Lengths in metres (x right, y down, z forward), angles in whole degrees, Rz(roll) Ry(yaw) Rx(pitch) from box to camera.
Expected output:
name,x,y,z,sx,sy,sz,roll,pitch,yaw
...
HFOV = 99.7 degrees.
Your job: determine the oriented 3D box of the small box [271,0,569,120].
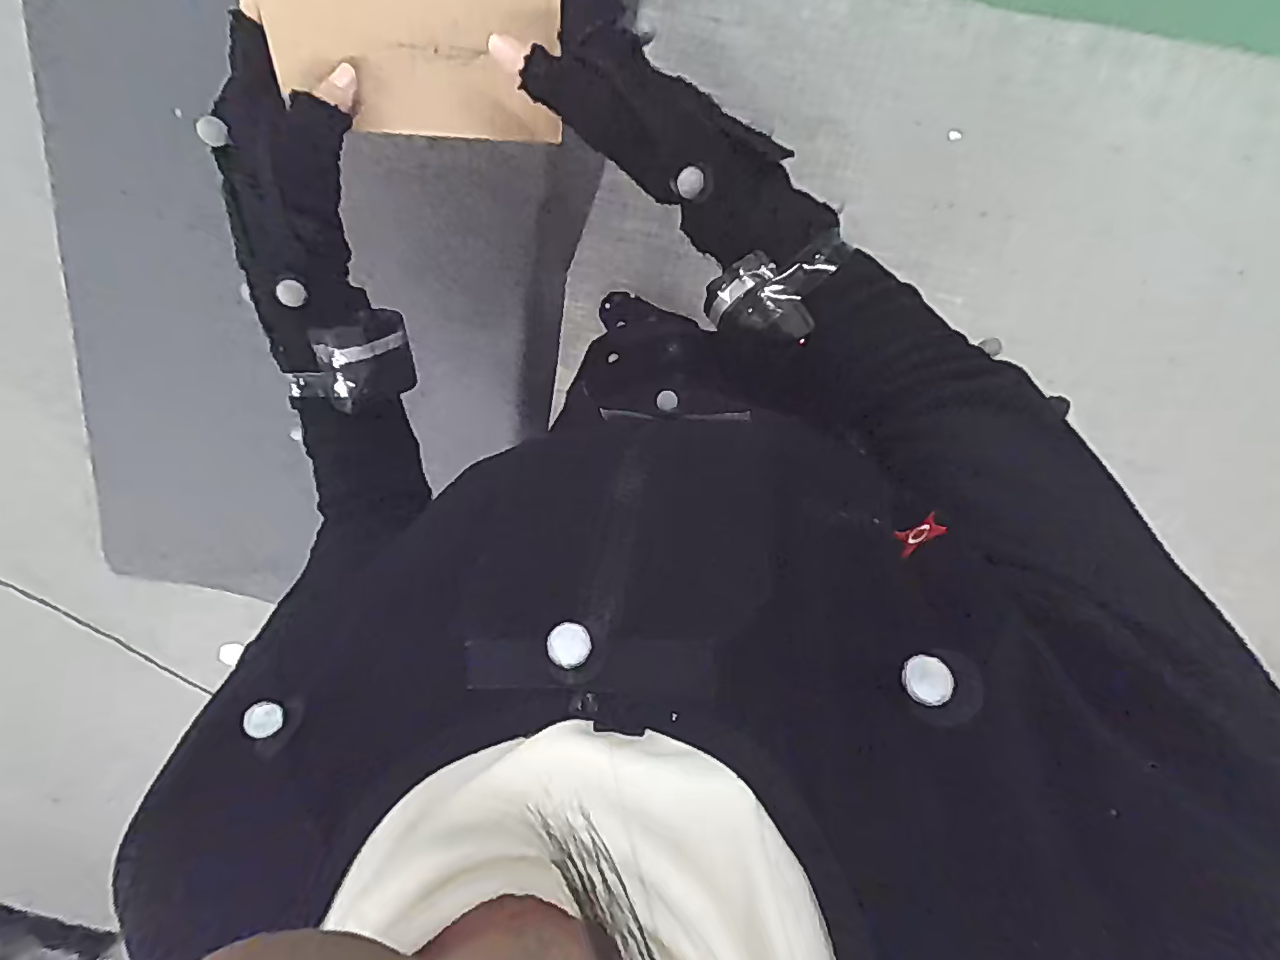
name,x,y,z,sx,sy,sz,roll,pitch,yaw
small box,-0.142,-0.349,0.351,0.168,0.176,0.179,-7,129,-14
